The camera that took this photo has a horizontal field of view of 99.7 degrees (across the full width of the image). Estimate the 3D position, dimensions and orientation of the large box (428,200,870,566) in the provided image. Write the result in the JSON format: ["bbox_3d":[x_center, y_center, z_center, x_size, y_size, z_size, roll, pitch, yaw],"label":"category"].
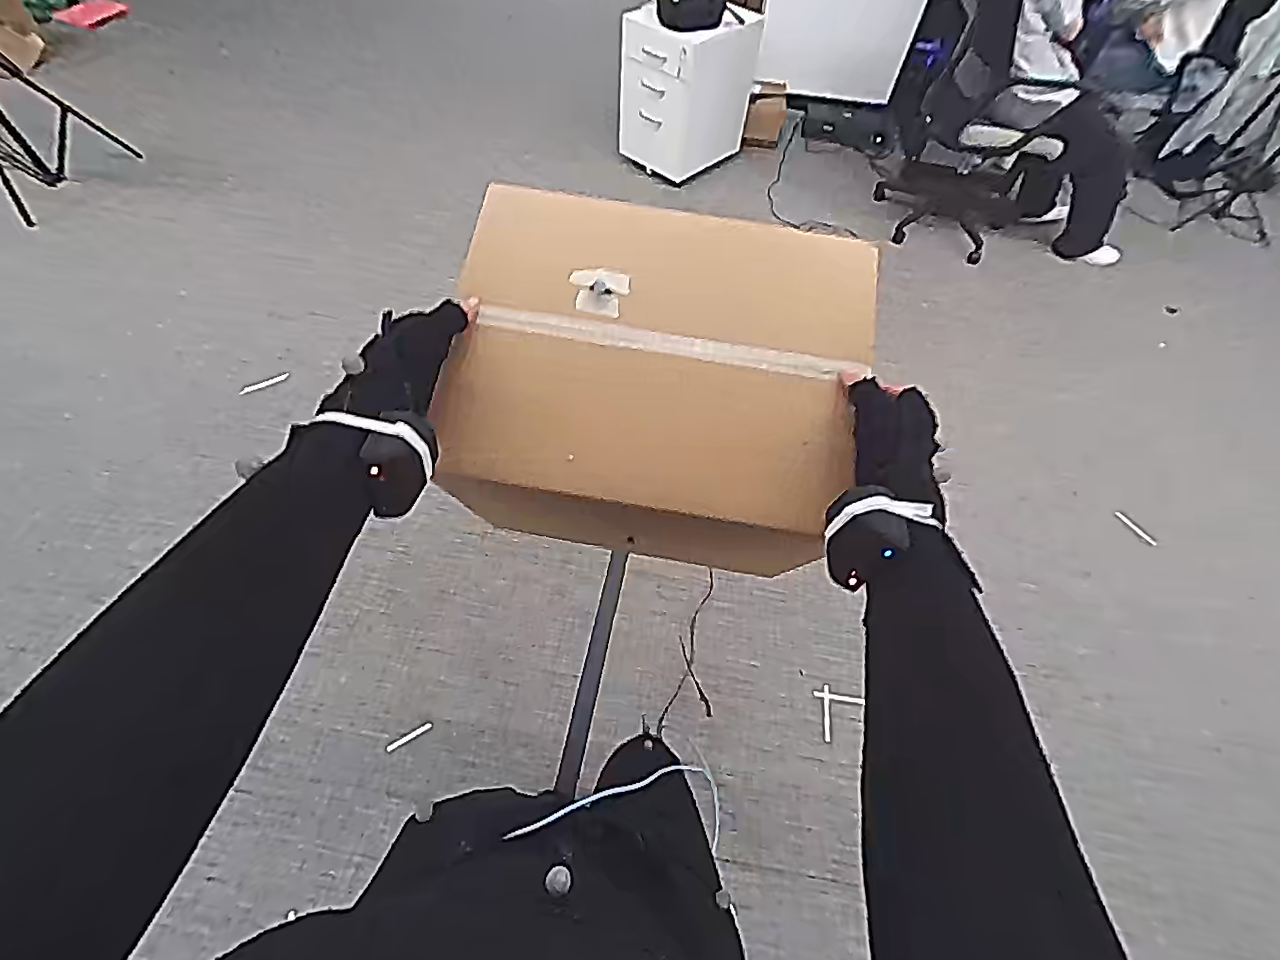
[{"bbox_3d":[0.022,-0.086,0.675,0.408,0.320,0.320,10,74,2],"label":"large box"}]
